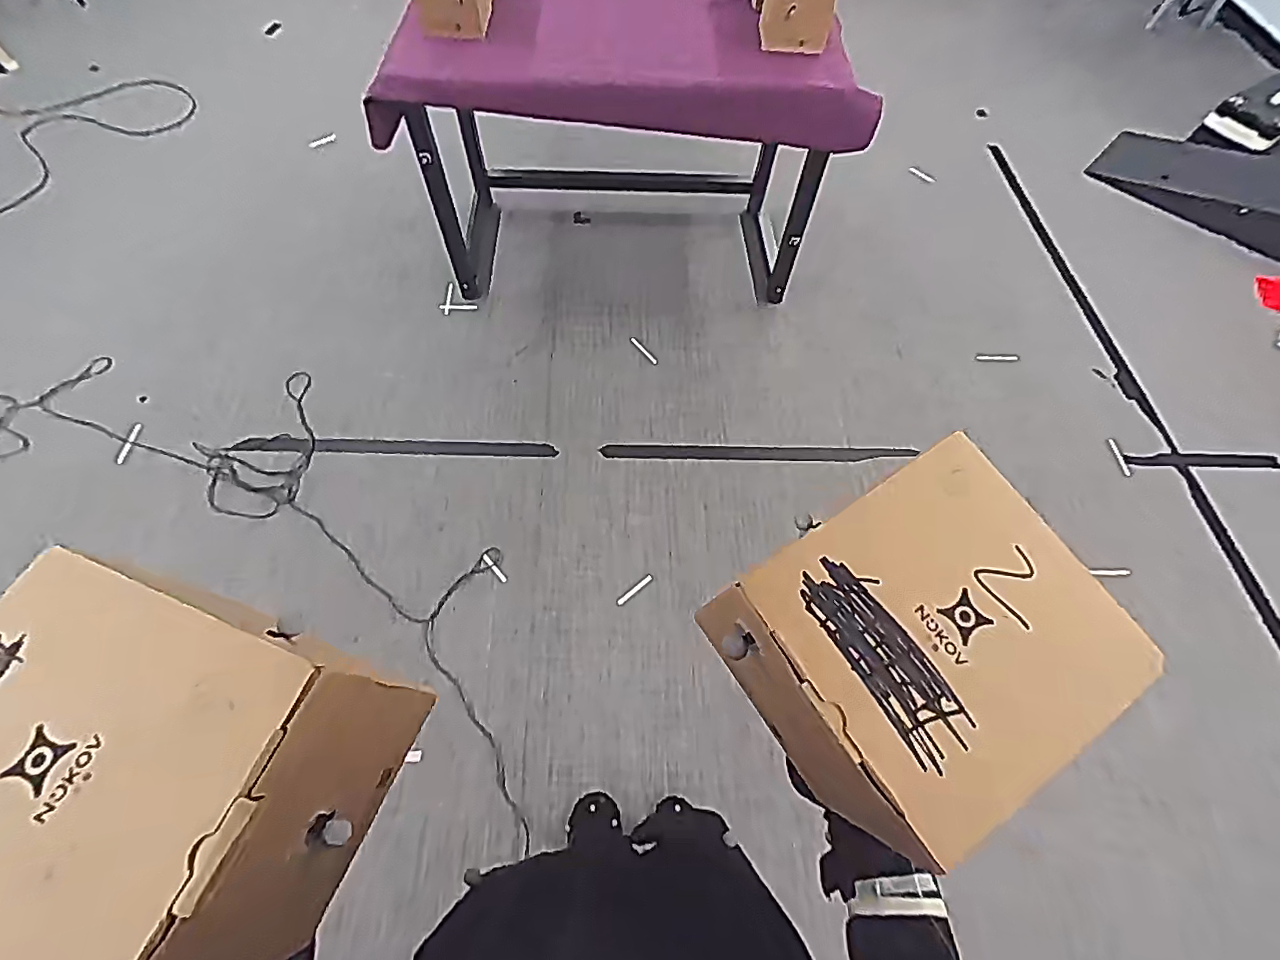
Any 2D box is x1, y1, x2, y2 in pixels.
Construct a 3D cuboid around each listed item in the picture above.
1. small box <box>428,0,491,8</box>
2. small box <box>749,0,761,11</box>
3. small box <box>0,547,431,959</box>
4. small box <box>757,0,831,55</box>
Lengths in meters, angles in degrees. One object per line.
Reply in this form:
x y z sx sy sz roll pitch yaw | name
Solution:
-0.513 -1.451 1.500 0.179 0.176 0.168 3 63 -2 | small box
0.408 -1.467 1.541 0.179 0.176 0.168 1 62 -2 | small box
-0.256 0.164 0.317 0.179 0.176 0.168 20 66 8 | small box
0.411 -1.268 1.440 0.168 0.176 0.179 4 60 1 | small box
